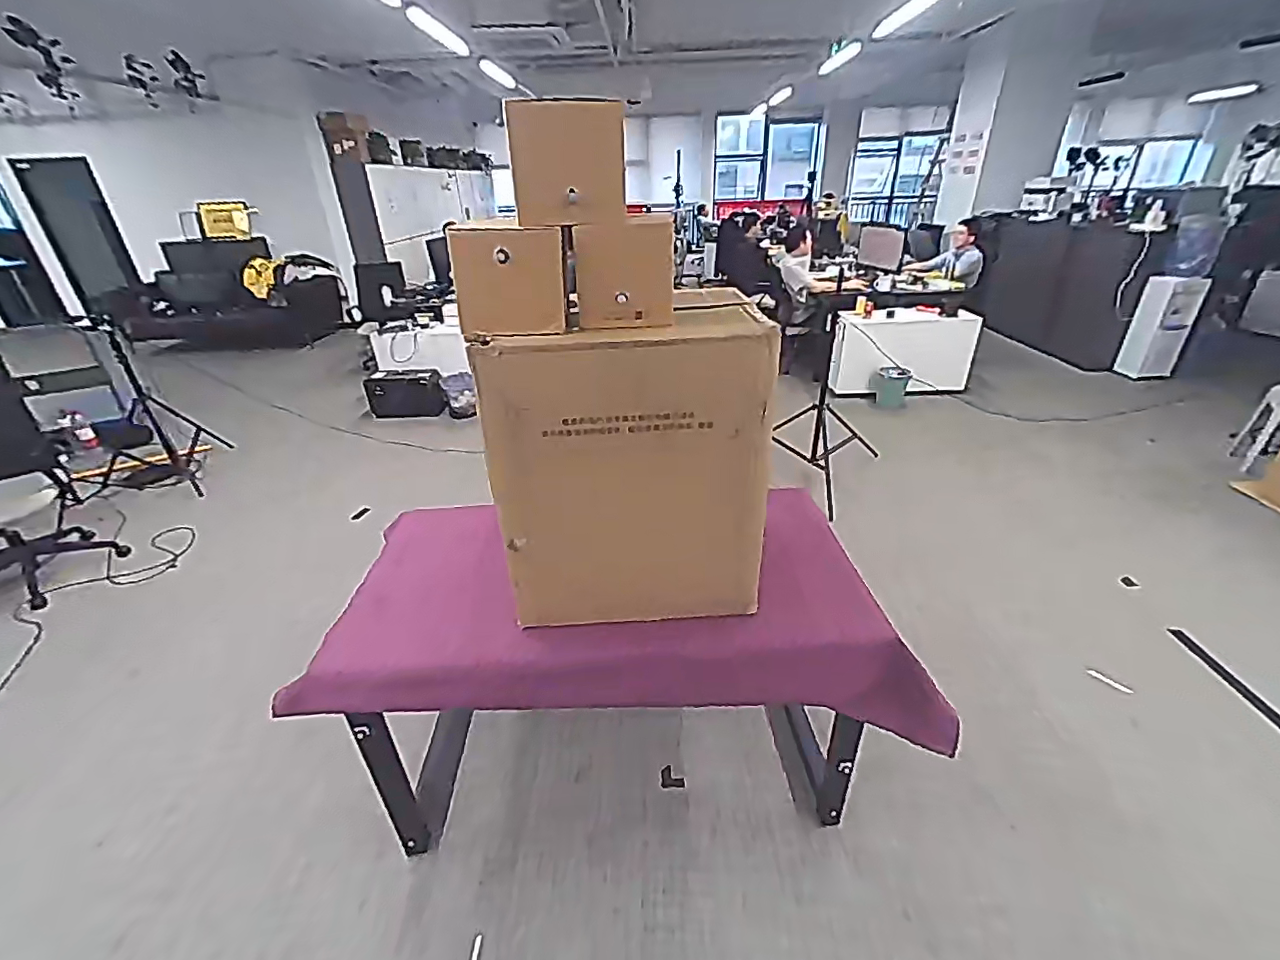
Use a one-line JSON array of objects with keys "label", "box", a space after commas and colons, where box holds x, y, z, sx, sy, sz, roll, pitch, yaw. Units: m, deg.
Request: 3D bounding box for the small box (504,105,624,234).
[{"label": "small box", "box": [-0.124, -0.508, 0.890, 0.179, 0.176, 0.168, -7, 30, -10]}]

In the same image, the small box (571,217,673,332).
[{"label": "small box", "box": [-0.027, -0.373, 0.976, 0.168, 0.176, 0.179, -2, 31, 1]}]
